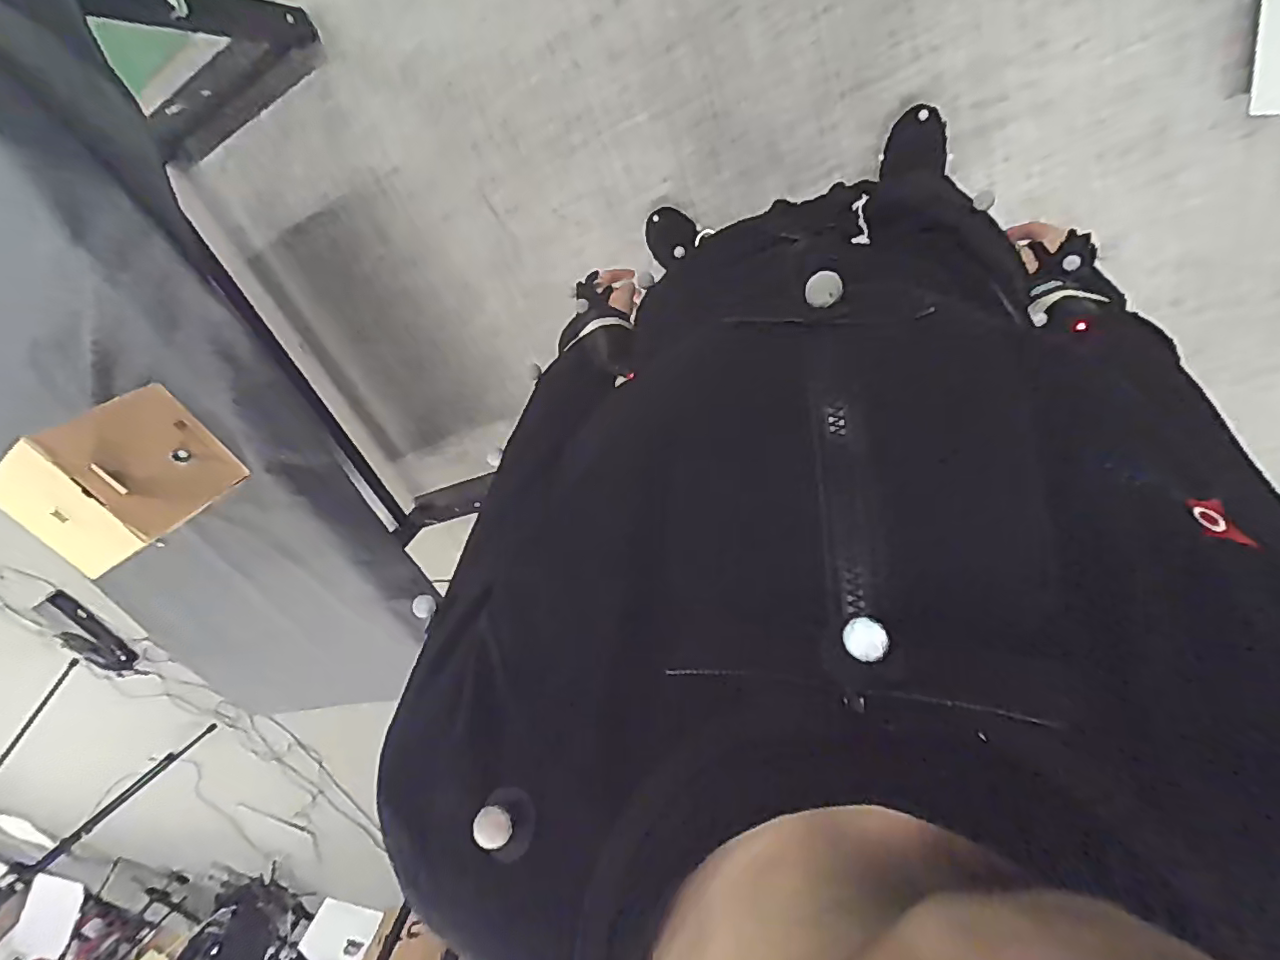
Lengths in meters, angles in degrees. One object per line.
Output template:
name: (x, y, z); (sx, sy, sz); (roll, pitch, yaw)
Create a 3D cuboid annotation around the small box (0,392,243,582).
small box: (-0.706, 0.007, 0.745); (0.179, 0.176, 0.168); (-23, 114, 26)
